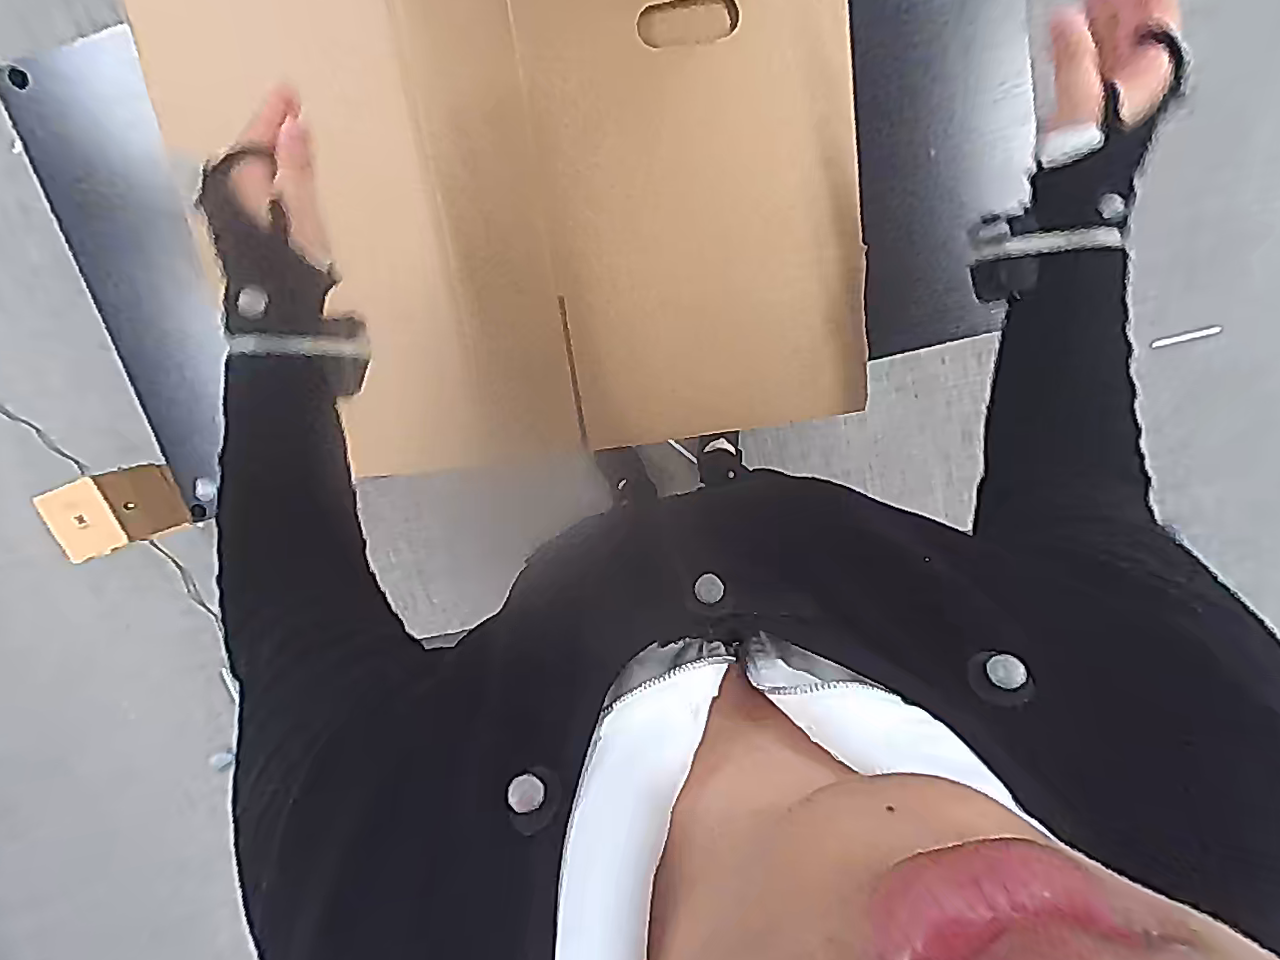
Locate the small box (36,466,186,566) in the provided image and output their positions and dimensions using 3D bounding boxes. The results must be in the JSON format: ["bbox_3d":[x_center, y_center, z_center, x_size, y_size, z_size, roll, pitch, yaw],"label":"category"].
[{"bbox_3d":[-1.289,0.083,1.333,0.168,0.176,0.179,-20,100,7],"label":"small box"}]

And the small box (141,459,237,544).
[{"bbox_3d":[-1.278,0.050,1.492,0.168,0.176,0.179,-17,103,7],"label":"small box"}]
